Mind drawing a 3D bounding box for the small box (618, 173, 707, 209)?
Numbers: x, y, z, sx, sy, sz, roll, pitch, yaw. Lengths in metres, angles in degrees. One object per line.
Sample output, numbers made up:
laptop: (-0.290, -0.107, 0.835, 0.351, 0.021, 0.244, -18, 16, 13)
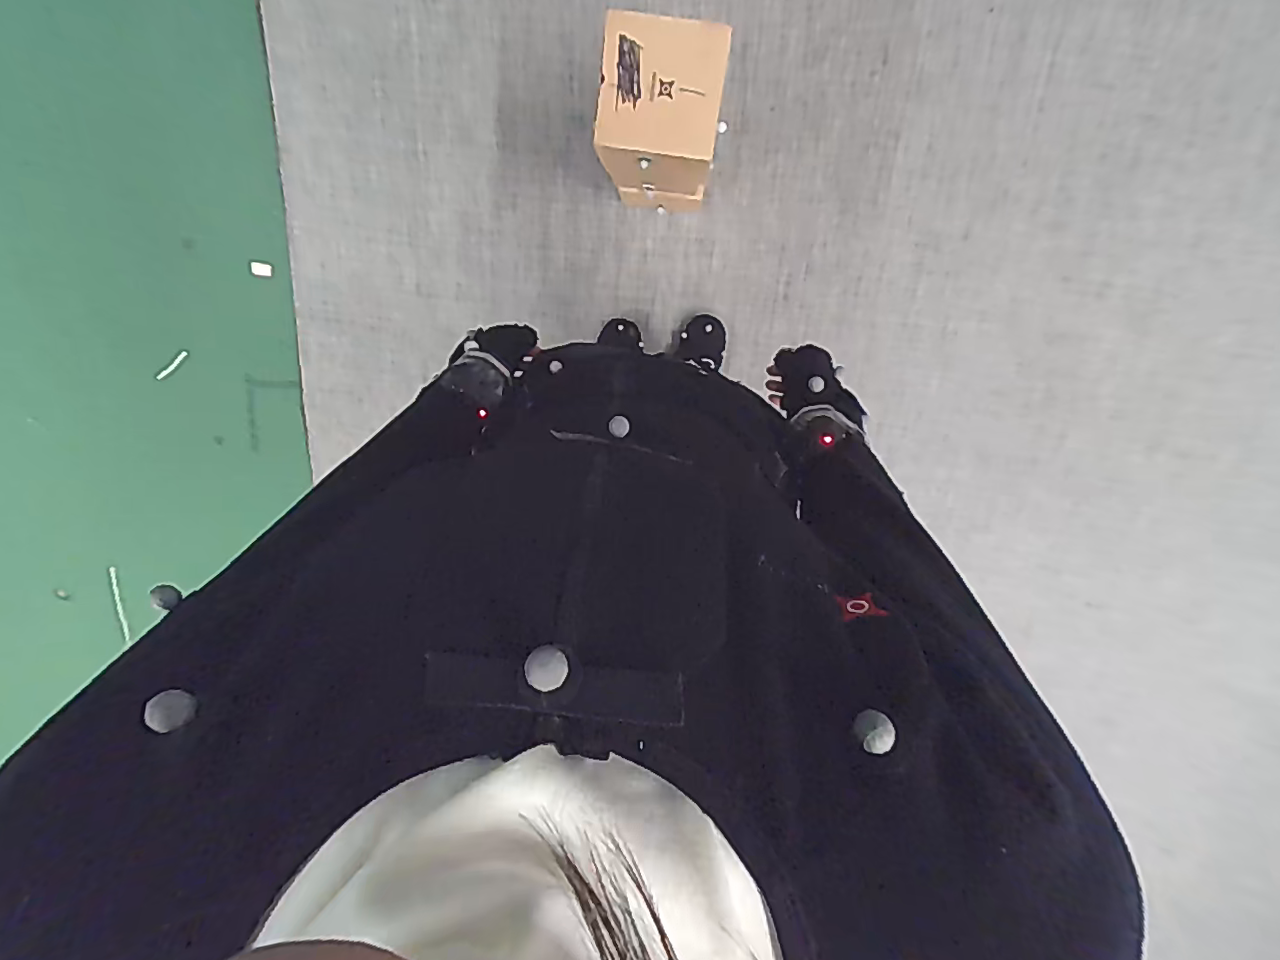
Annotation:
small box: (0.054, -0.683, 1.145, 0.179, 0.176, 0.168, 7, 109, 0)

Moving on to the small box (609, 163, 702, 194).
small box: (0.040, -0.642, 0.988, 0.168, 0.176, 0.179, 7, 110, 2)

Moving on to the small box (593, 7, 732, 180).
small box: (0.034, -0.580, 0.835, 0.179, 0.176, 0.168, 9, 109, 1)
